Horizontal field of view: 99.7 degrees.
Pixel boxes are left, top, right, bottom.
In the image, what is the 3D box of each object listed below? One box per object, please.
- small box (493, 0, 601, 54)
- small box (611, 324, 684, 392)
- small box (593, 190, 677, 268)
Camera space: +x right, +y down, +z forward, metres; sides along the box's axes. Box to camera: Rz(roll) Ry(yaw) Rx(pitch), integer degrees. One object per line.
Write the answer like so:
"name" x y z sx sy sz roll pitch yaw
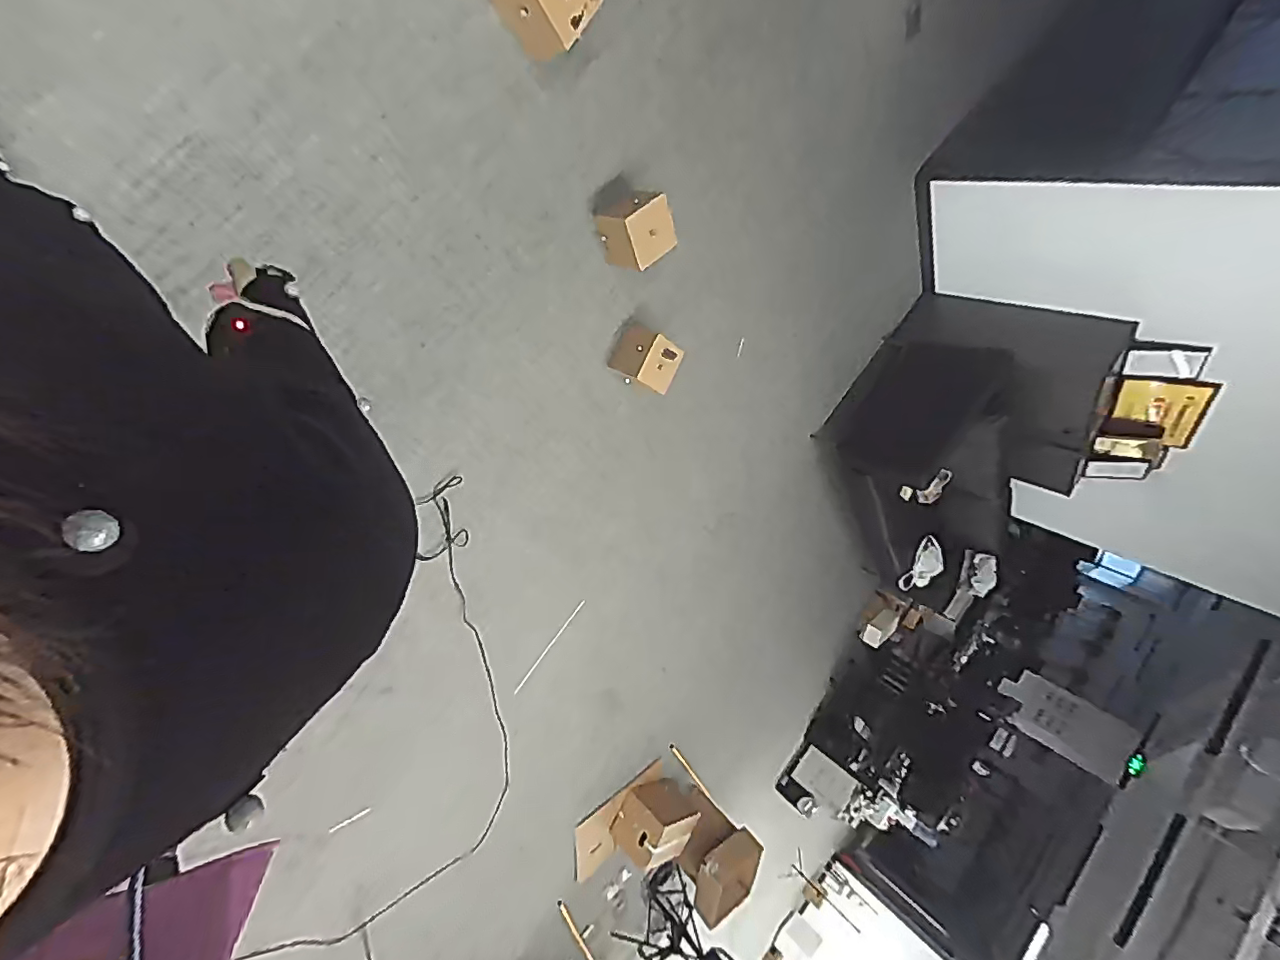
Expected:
"small box" -0.229 -1.157 1.278 0.168 0.176 0.179 -56 139 -5
"small box" 0.023 -0.445 1.955 0.168 0.176 0.179 21 97 -49
"small box" -0.016 -0.798 1.709 0.179 0.176 0.168 -43 136 -20
